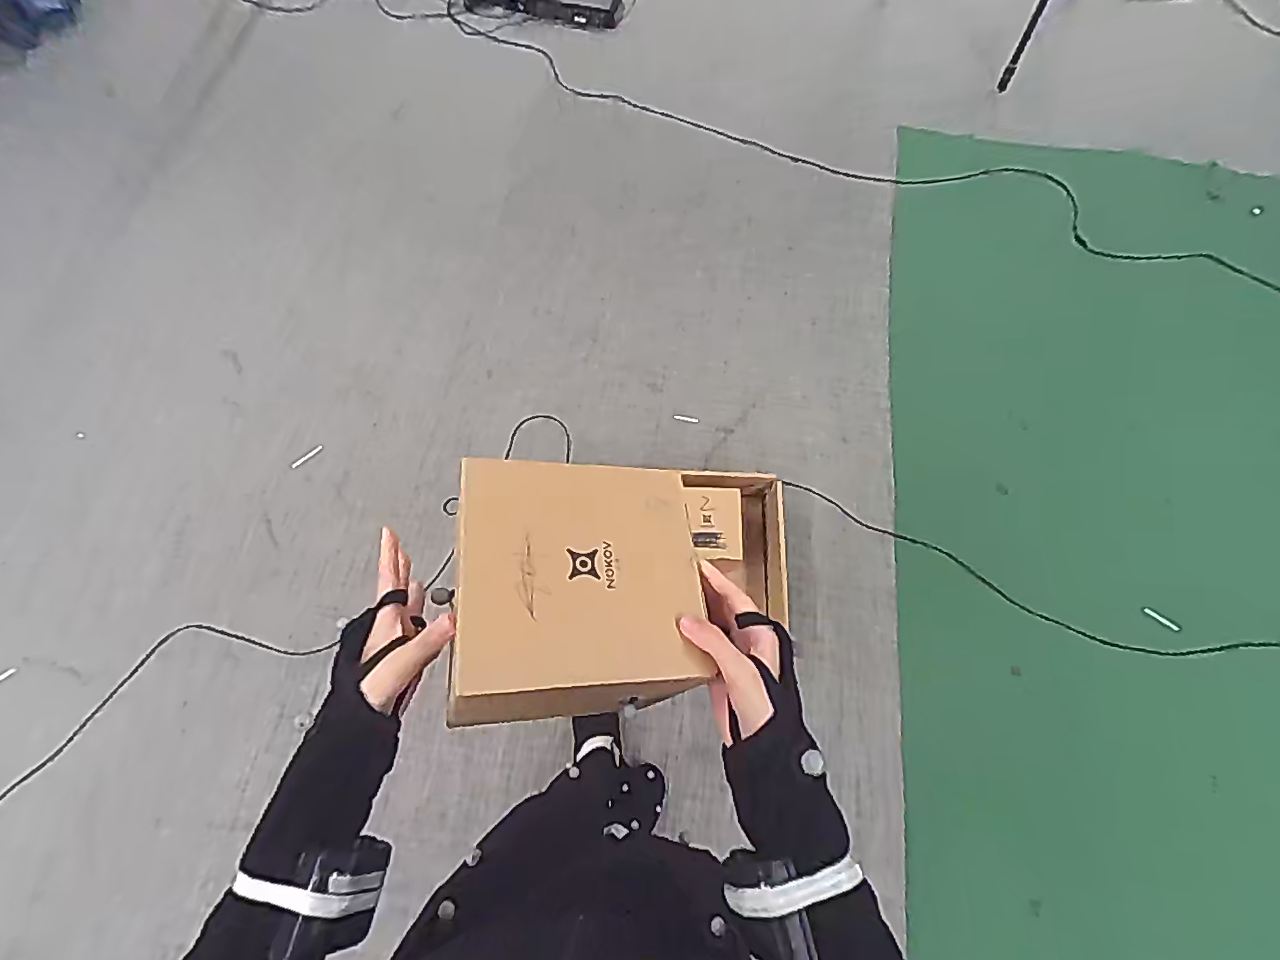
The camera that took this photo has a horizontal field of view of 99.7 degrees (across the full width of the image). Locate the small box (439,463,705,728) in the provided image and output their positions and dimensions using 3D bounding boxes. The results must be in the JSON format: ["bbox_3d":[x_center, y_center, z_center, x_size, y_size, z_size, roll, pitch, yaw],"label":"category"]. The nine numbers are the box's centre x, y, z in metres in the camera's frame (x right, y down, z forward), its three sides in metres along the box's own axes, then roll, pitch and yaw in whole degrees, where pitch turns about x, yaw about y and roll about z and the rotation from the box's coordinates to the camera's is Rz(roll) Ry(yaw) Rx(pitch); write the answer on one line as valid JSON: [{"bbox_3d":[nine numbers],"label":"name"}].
[{"bbox_3d":[-0.069,0.103,0.452,0.179,0.176,0.168,3,58,-19],"label":"small box"}]
